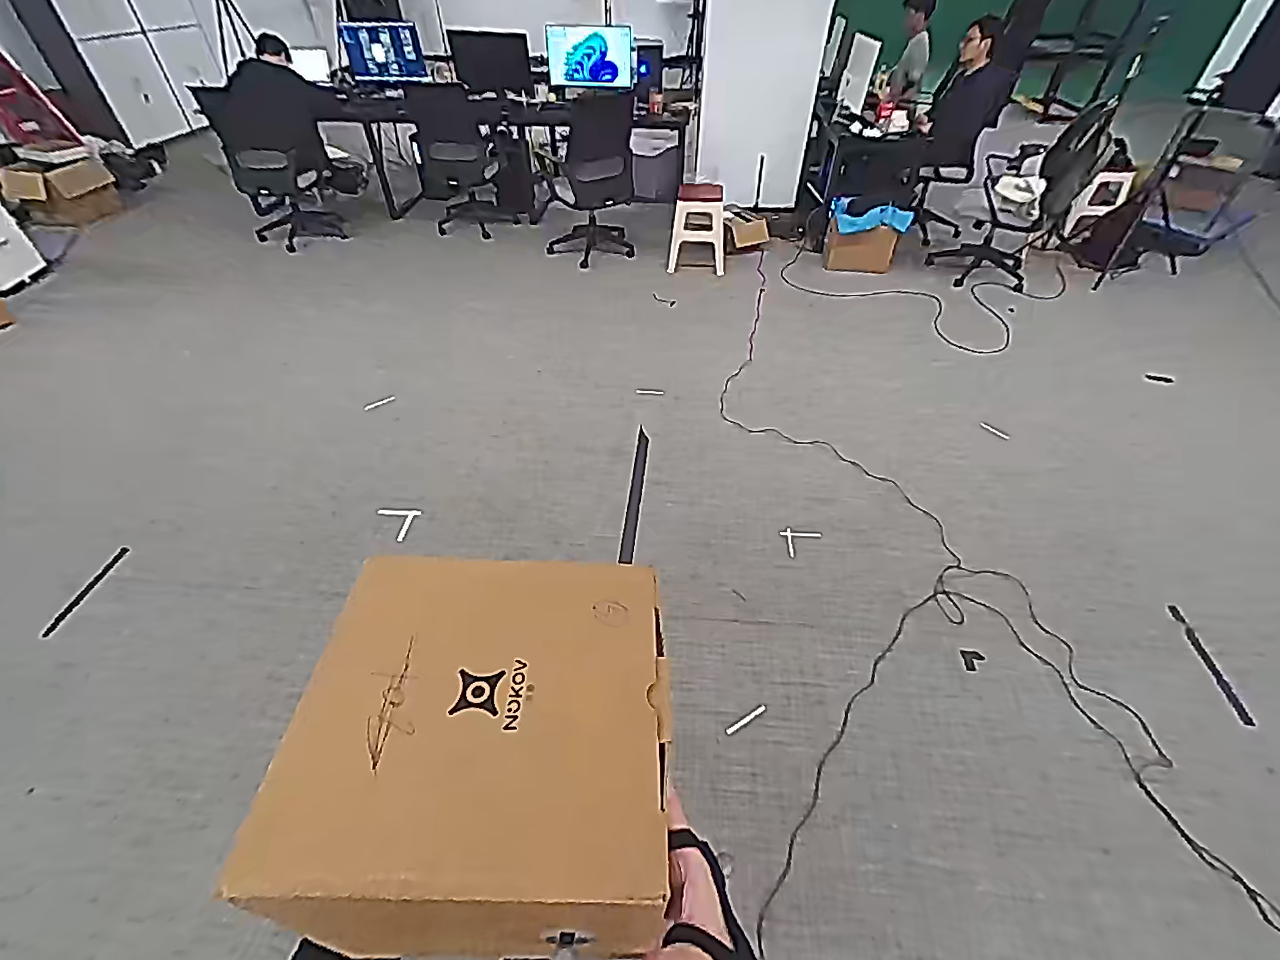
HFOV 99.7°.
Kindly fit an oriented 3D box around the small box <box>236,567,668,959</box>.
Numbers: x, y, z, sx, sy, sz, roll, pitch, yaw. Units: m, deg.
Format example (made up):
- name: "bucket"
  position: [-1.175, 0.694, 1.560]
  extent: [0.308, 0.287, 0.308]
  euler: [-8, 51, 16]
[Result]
- name: "small box"
  position: [-0.079, 0.171, 0.330]
  extent: [0.179, 0.176, 0.168]
  euler: [1, 42, -1]
